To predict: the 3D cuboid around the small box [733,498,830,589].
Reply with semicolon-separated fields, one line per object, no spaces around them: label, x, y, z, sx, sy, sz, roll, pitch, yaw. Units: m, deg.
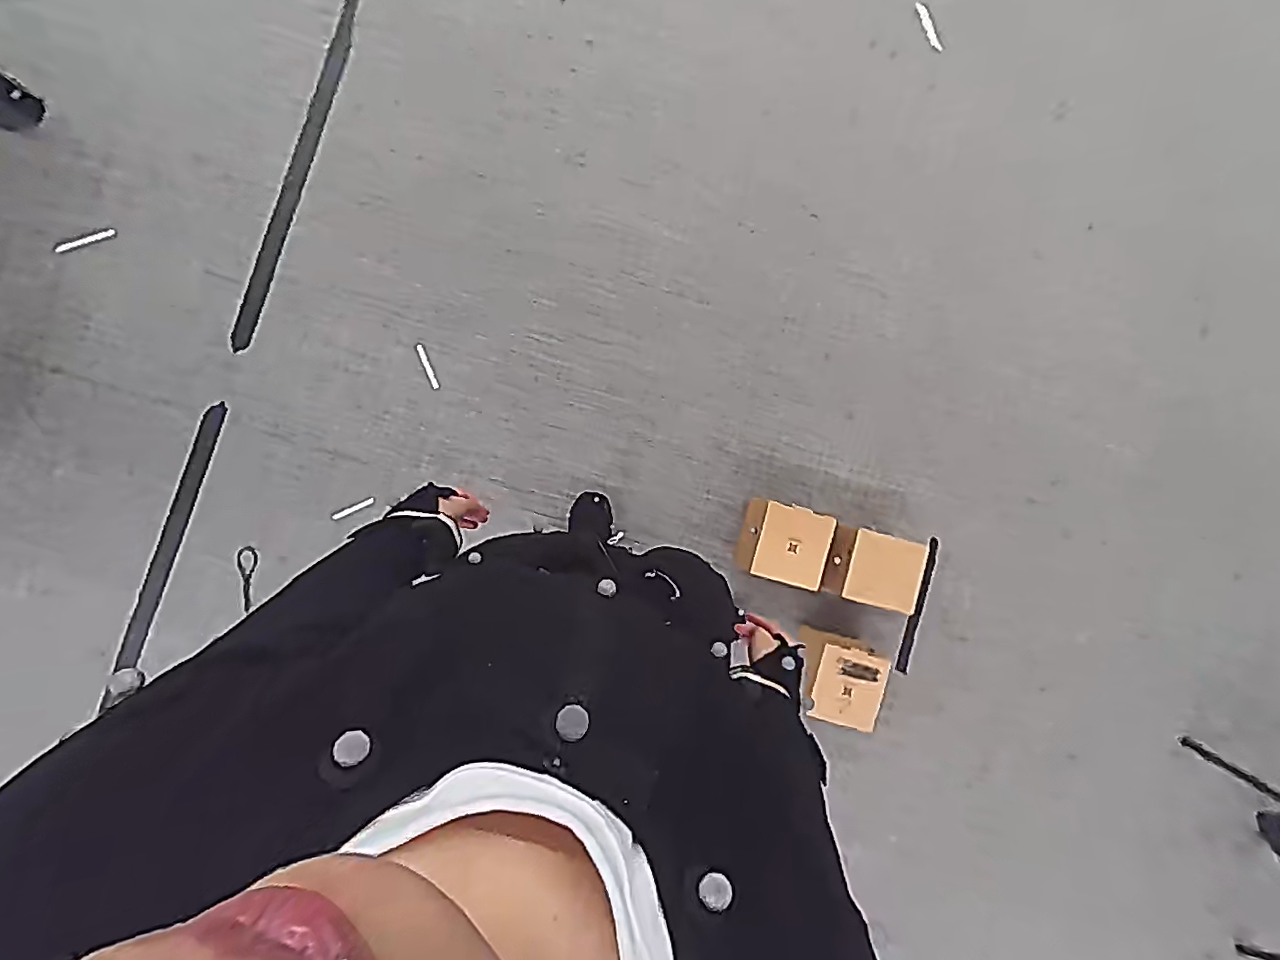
small box;0.338;0.150;1.331;0.168;0.176;0.179;16;88;-4
